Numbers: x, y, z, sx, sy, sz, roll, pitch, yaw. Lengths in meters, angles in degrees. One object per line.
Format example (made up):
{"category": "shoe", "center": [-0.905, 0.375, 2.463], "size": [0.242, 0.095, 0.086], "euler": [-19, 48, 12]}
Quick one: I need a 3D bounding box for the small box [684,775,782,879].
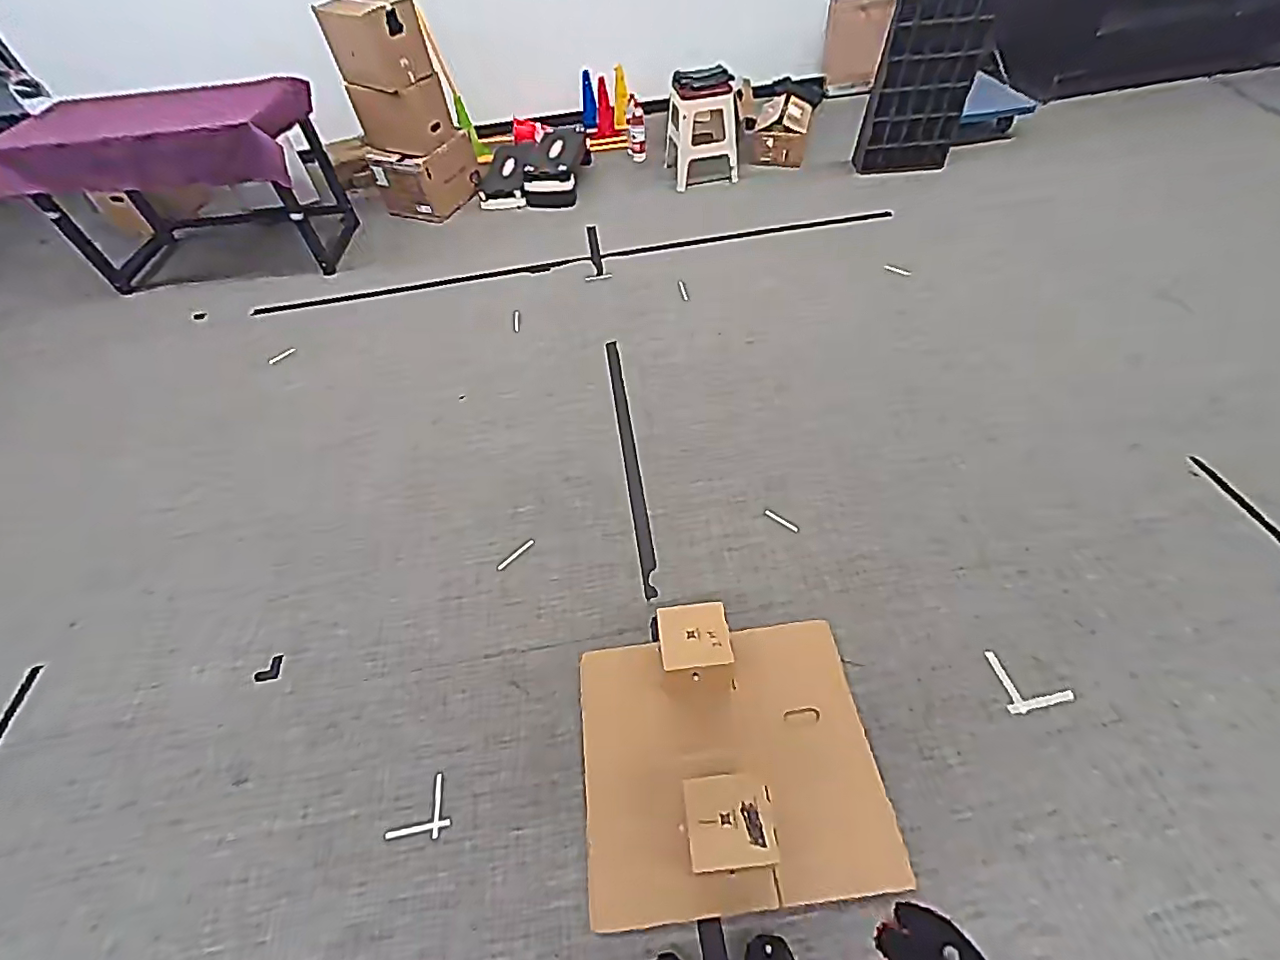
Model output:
{"category": "small box", "center": [0.191, 0.747, 1.163], "size": [0.179, 0.176, 0.168], "euler": [-7, 51, 0]}

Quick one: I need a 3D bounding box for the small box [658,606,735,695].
{"category": "small box", "center": [0.144, 0.448, 1.410], "size": [0.179, 0.176, 0.168], "euler": [-6, 50, 0]}
